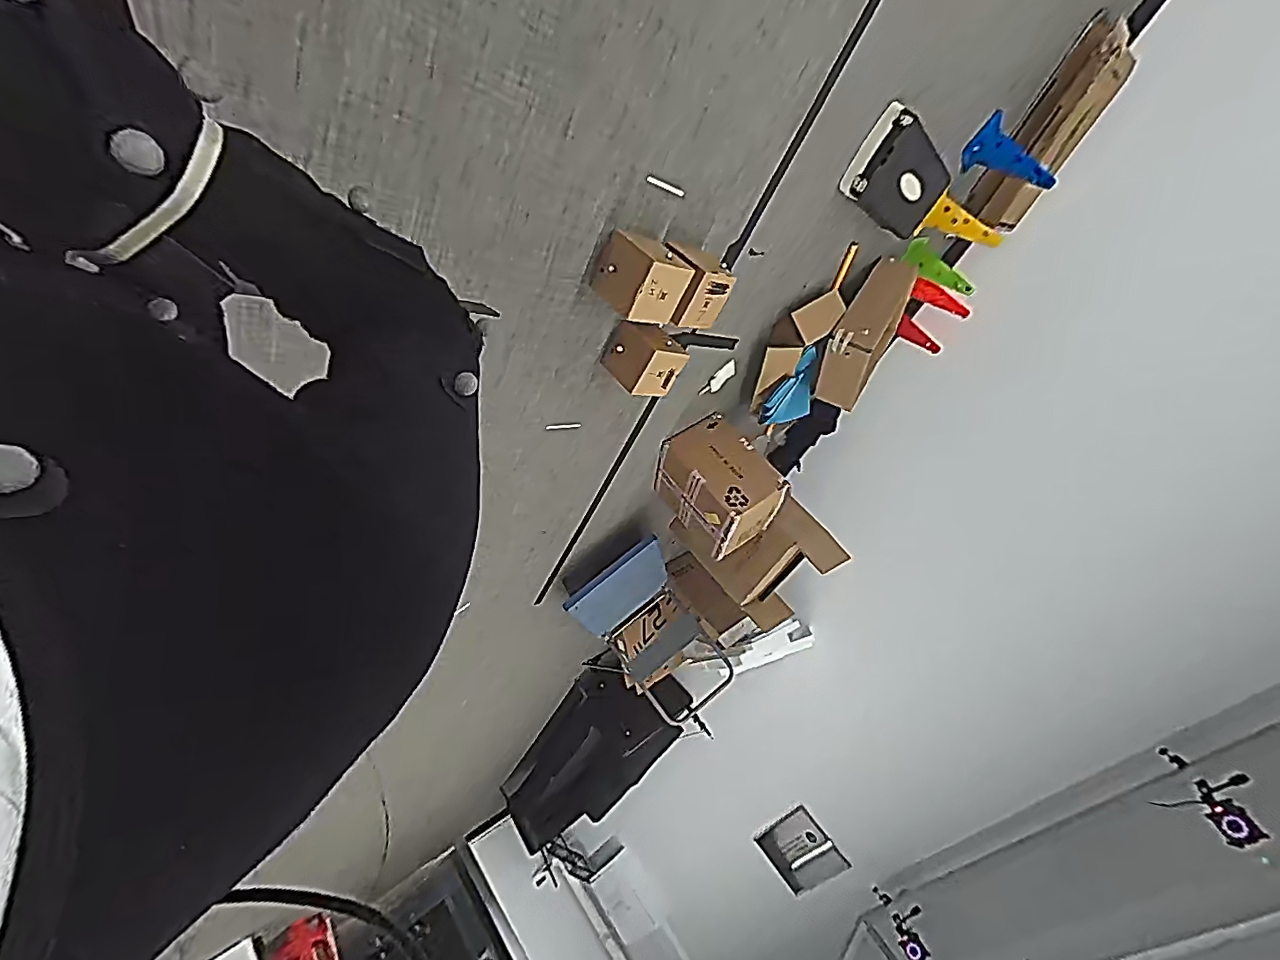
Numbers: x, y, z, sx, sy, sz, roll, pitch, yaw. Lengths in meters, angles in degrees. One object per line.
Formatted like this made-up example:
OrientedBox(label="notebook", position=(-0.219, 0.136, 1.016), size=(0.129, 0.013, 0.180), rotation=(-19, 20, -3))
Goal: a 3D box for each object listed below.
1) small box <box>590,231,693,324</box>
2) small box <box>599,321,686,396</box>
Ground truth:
OrientedBox(label="small box", position=(0.000, -0.538, 1.445), size=(0.179, 0.176, 0.168), rotation=(-12, 142, -48))
OrientedBox(label="small box", position=(0.006, -0.385, 1.713), size=(0.179, 0.176, 0.168), rotation=(-8, 139, -50))
